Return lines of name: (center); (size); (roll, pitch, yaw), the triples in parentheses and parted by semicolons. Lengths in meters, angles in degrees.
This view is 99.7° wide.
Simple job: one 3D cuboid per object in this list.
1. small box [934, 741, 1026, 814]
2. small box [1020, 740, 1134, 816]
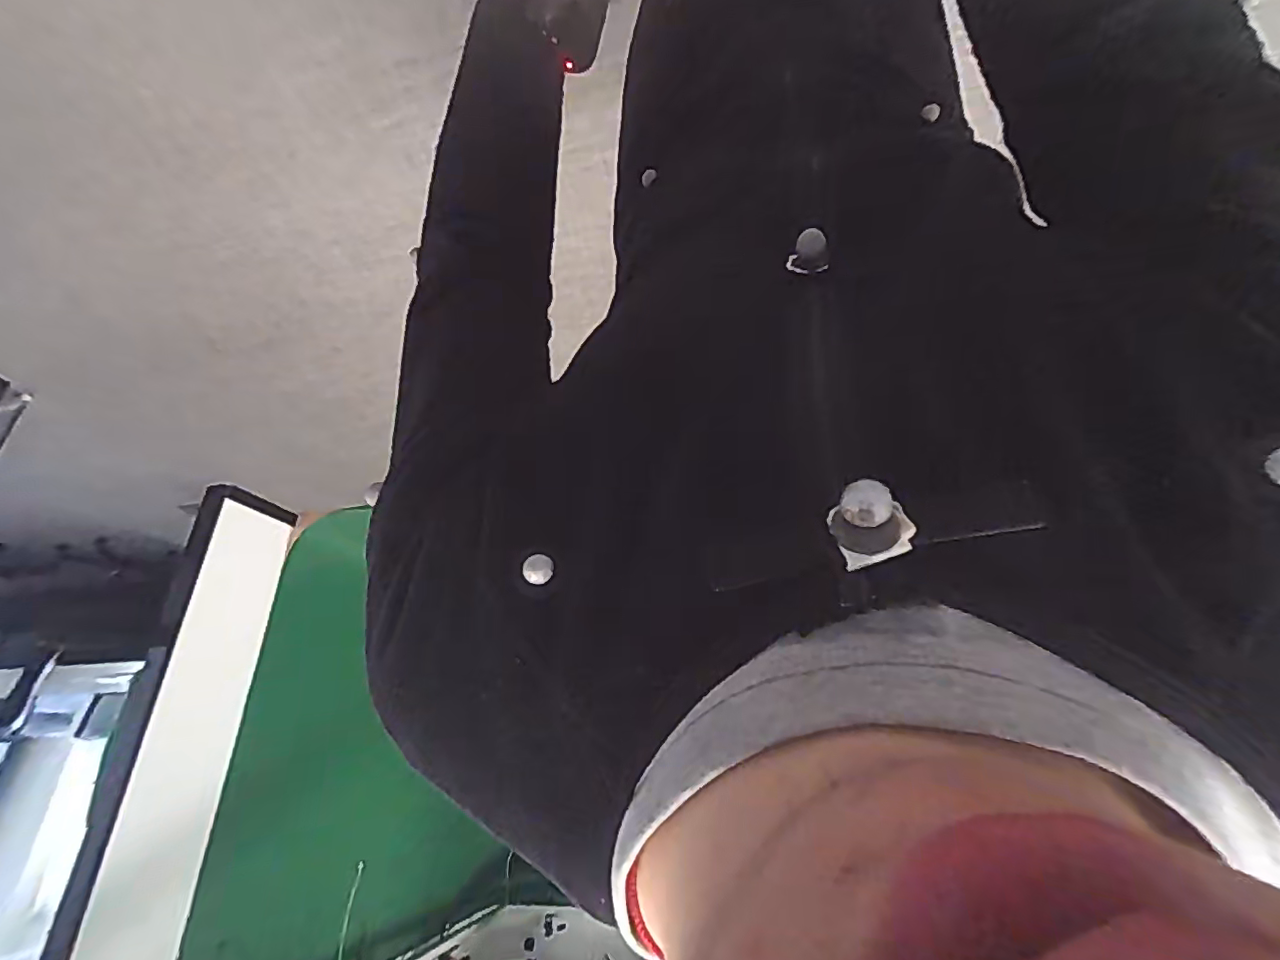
small box: (0.964, 0.848, 1.554); (0.168, 0.176, 0.179); (-7, 154, 12)
small box: (1.196, 0.821, 1.499); (0.168, 0.176, 0.179); (-6, 156, 11)
